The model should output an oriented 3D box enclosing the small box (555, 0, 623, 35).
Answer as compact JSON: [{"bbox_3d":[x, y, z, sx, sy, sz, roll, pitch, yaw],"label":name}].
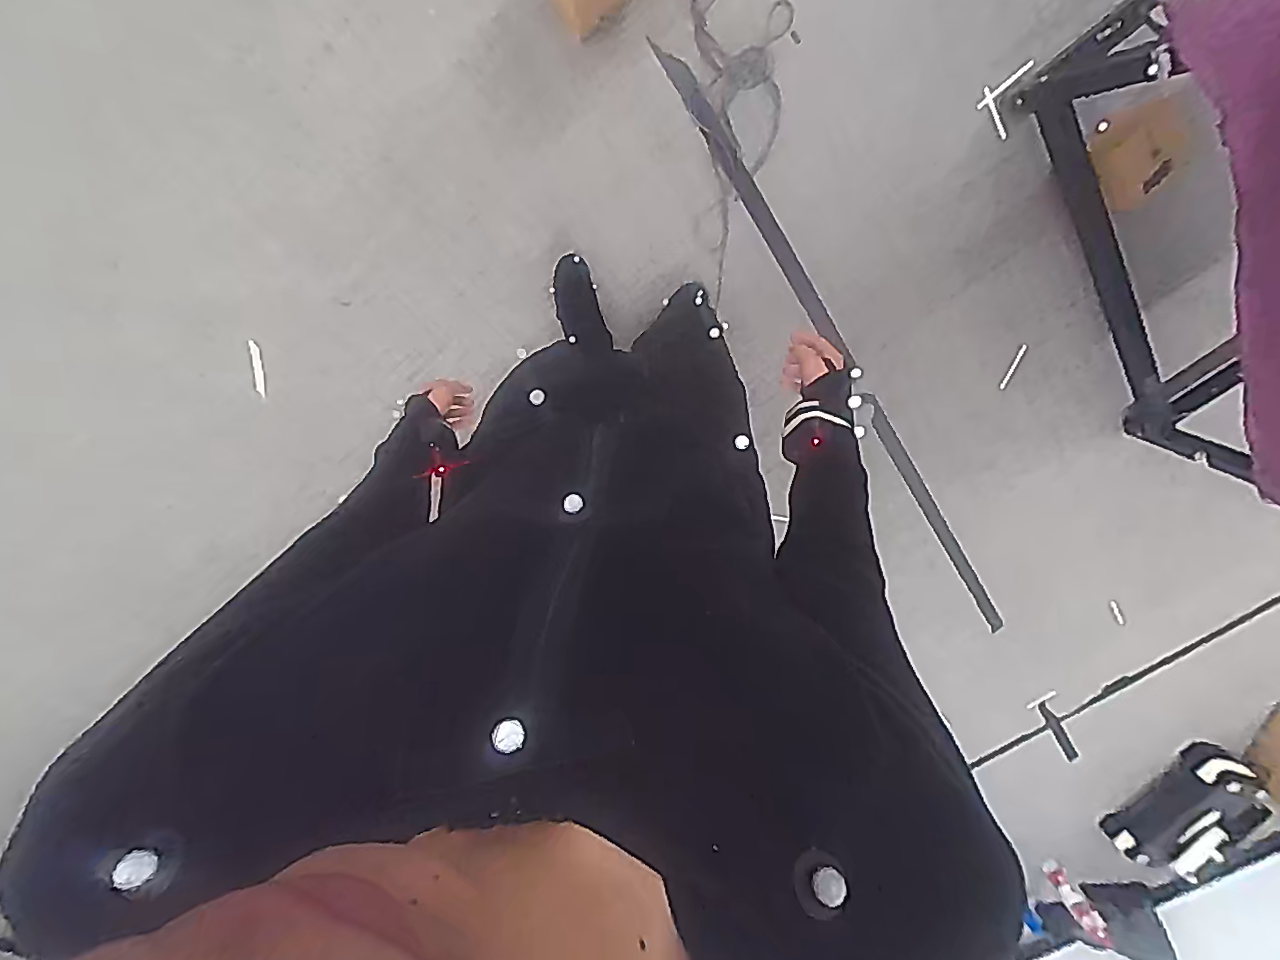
[{"bbox_3d":[-0.116,-1.060,1.093,0.168,0.176,0.179,-35,115,13],"label":"small box"}]
